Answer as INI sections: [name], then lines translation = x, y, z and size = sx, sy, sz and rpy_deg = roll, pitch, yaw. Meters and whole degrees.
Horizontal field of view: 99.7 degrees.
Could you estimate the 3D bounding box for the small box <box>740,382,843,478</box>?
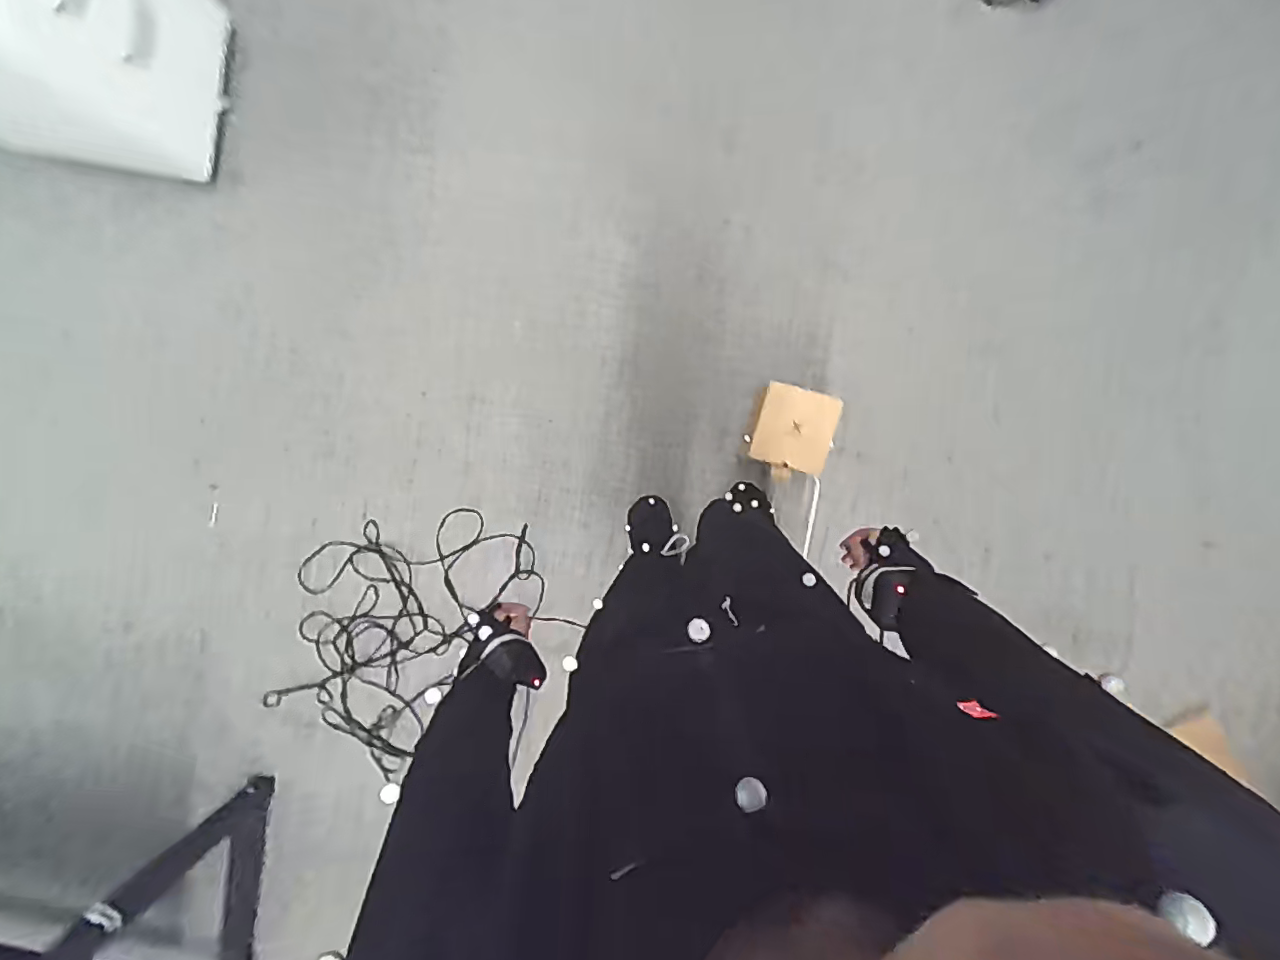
[small box]
translation = 0.341, -0.115, 1.256
size = 0.168, 0.176, 0.179
rpy_deg = 16, 95, 1
